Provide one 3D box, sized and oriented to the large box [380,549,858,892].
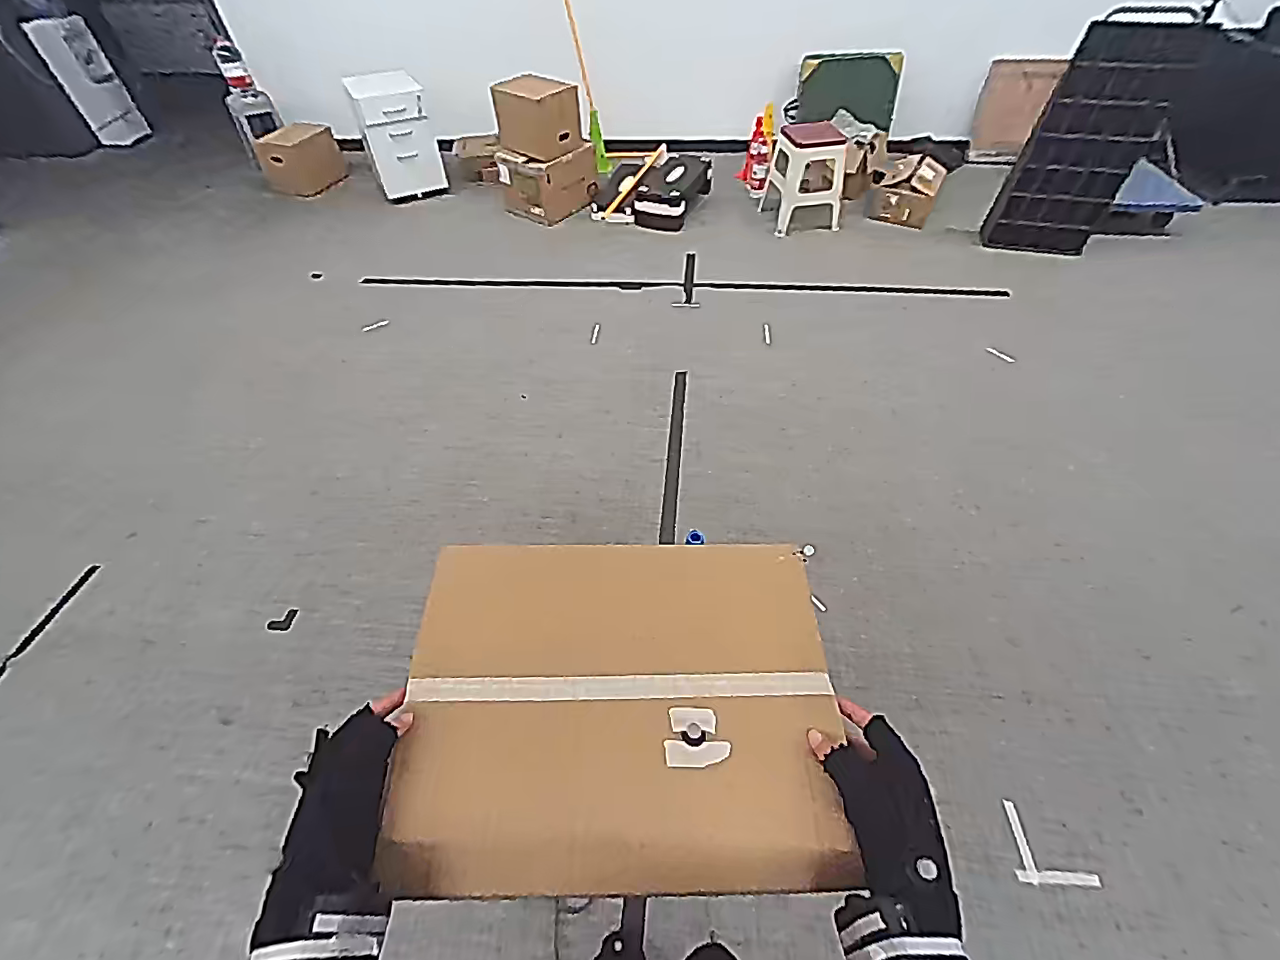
[{"bbox_3d":[-0.022,0.294,0.649,0.408,0.320,0.320,0,53,-1],"label":"large box"}]
